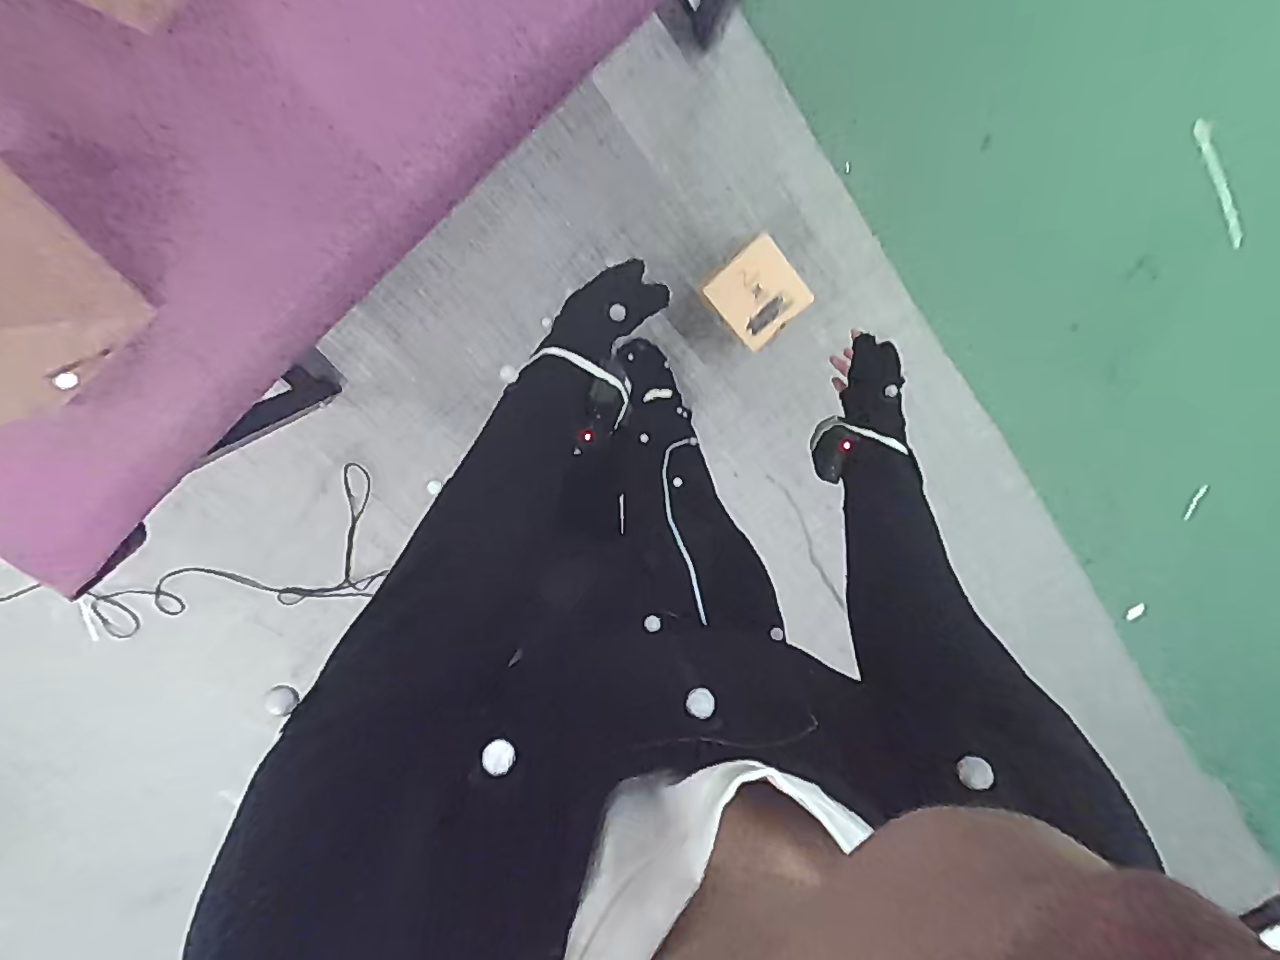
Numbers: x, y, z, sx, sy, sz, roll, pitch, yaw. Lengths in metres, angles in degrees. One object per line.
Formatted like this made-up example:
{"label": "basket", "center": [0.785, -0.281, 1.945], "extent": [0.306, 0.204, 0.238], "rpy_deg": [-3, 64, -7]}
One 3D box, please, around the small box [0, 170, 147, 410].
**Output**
{"label": "small box", "center": [-0.594, -0.160, 0.450], "extent": [0.168, 0.176, 0.179], "rpy_deg": [-34, 109, 10]}
